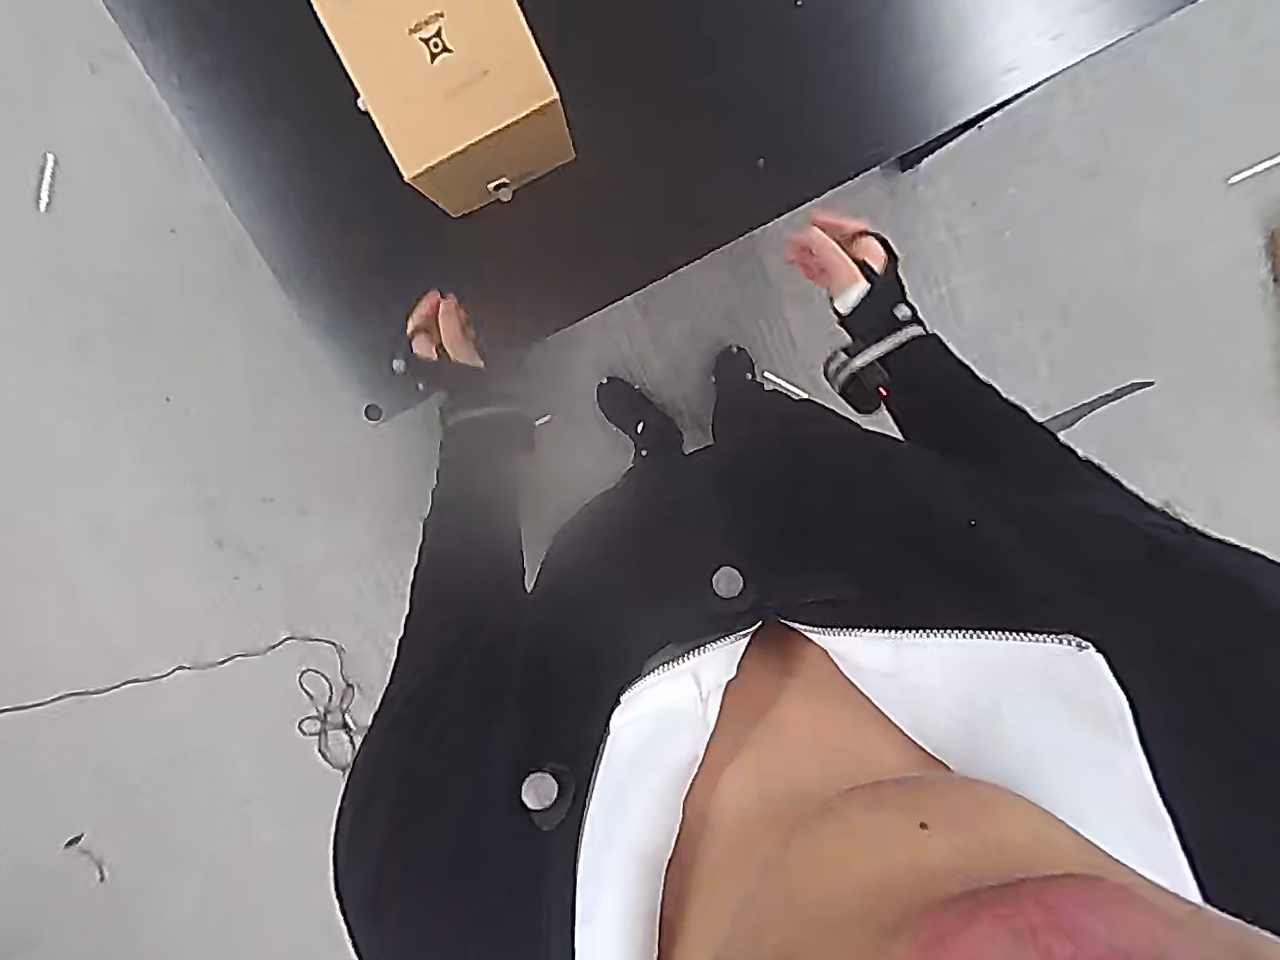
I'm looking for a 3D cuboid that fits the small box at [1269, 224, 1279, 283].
[{"bbox_3d":[1.719,-0.583,1.318,0.168,0.176,0.179,-28,103,5],"label":"small box"}]

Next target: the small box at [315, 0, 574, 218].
[{"bbox_3d":[-0.182,-0.407,0.563,0.168,0.176,0.179,-26,103,5],"label":"small box"}]
